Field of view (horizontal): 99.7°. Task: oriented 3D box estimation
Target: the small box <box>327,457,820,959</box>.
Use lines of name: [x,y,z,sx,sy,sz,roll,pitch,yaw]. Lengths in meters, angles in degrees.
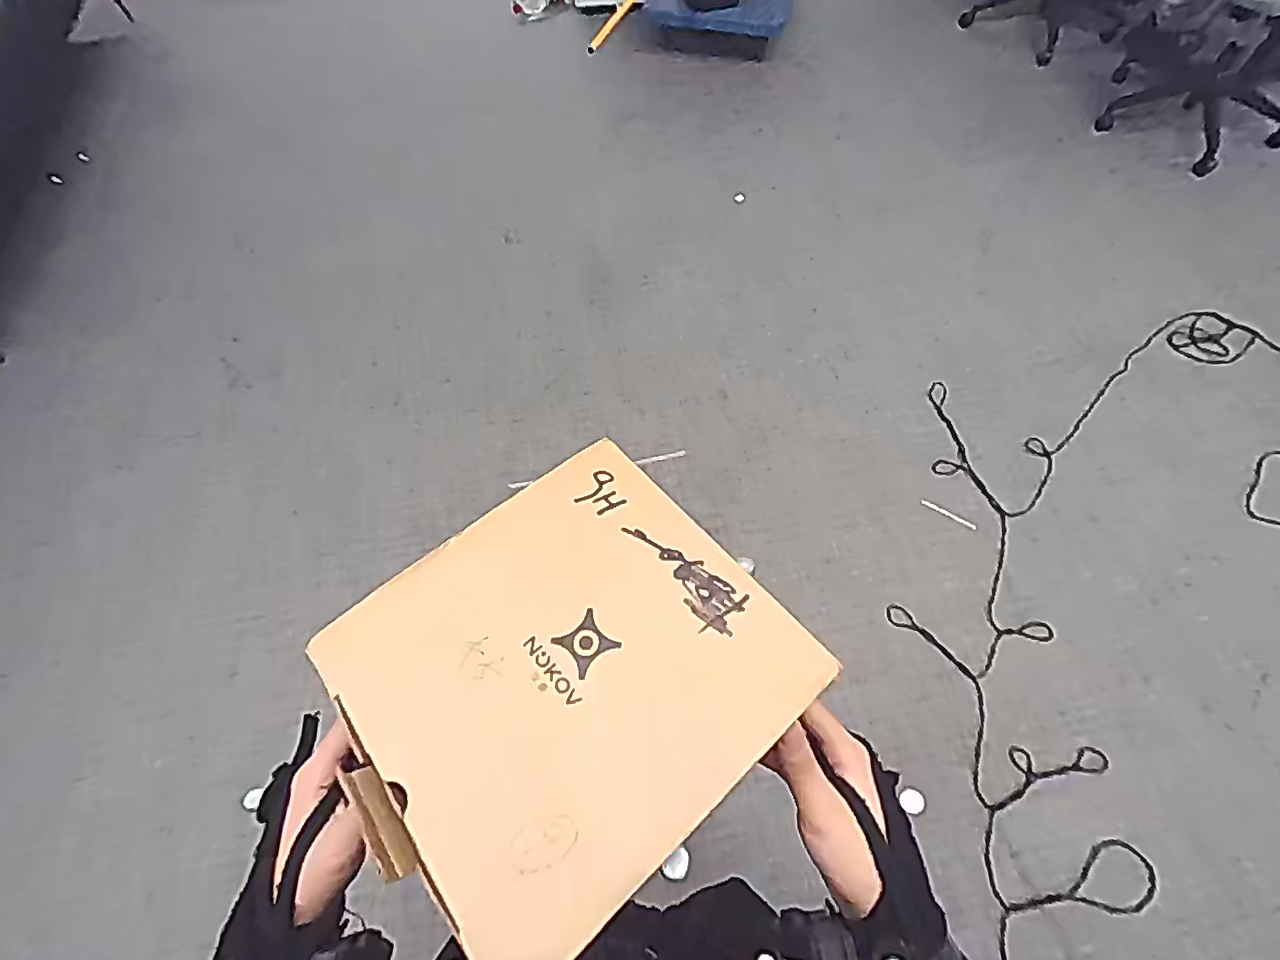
small box: [-0.031,0.127,0.316,0.179,0.176,0.168,-36,64,-21]
